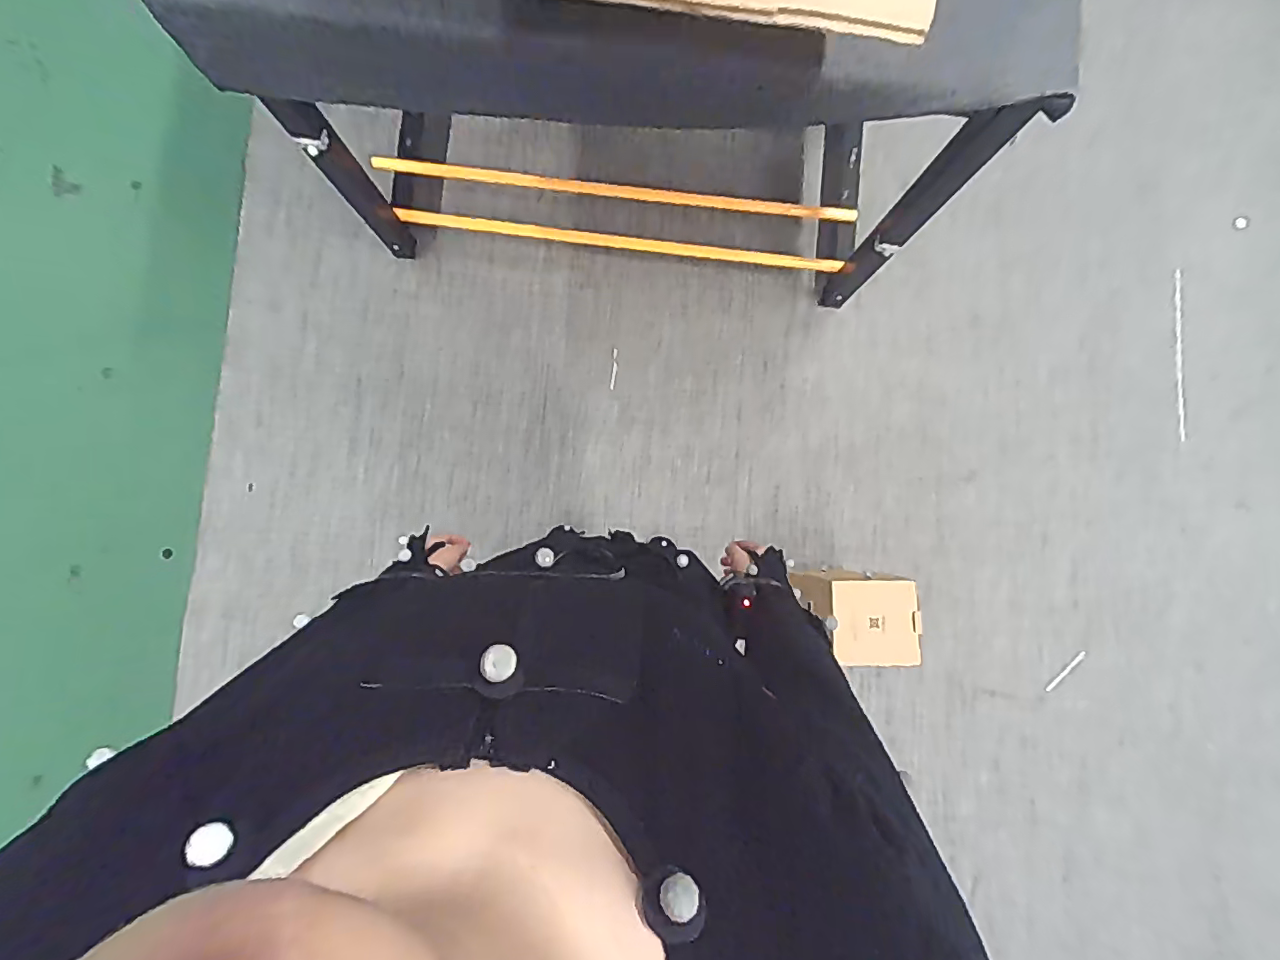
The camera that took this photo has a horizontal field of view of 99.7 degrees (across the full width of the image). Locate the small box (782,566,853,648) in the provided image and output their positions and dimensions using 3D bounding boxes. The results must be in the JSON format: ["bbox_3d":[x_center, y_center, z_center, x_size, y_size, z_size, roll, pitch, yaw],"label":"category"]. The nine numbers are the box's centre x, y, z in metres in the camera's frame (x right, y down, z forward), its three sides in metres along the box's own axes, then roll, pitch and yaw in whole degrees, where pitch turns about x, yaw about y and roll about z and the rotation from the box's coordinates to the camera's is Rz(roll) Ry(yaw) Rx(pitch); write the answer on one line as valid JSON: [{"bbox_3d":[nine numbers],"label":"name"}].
[{"bbox_3d":[0.446,0.299,1.299,0.168,0.176,0.179,0,85,-2],"label":"small box"}]

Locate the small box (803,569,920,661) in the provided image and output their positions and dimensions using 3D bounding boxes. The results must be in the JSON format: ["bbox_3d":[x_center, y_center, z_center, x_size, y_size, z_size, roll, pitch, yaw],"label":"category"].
[{"bbox_3d":[0.458,0.276,1.137,0.179,0.176,0.168,-1,85,-2],"label":"small box"}]
